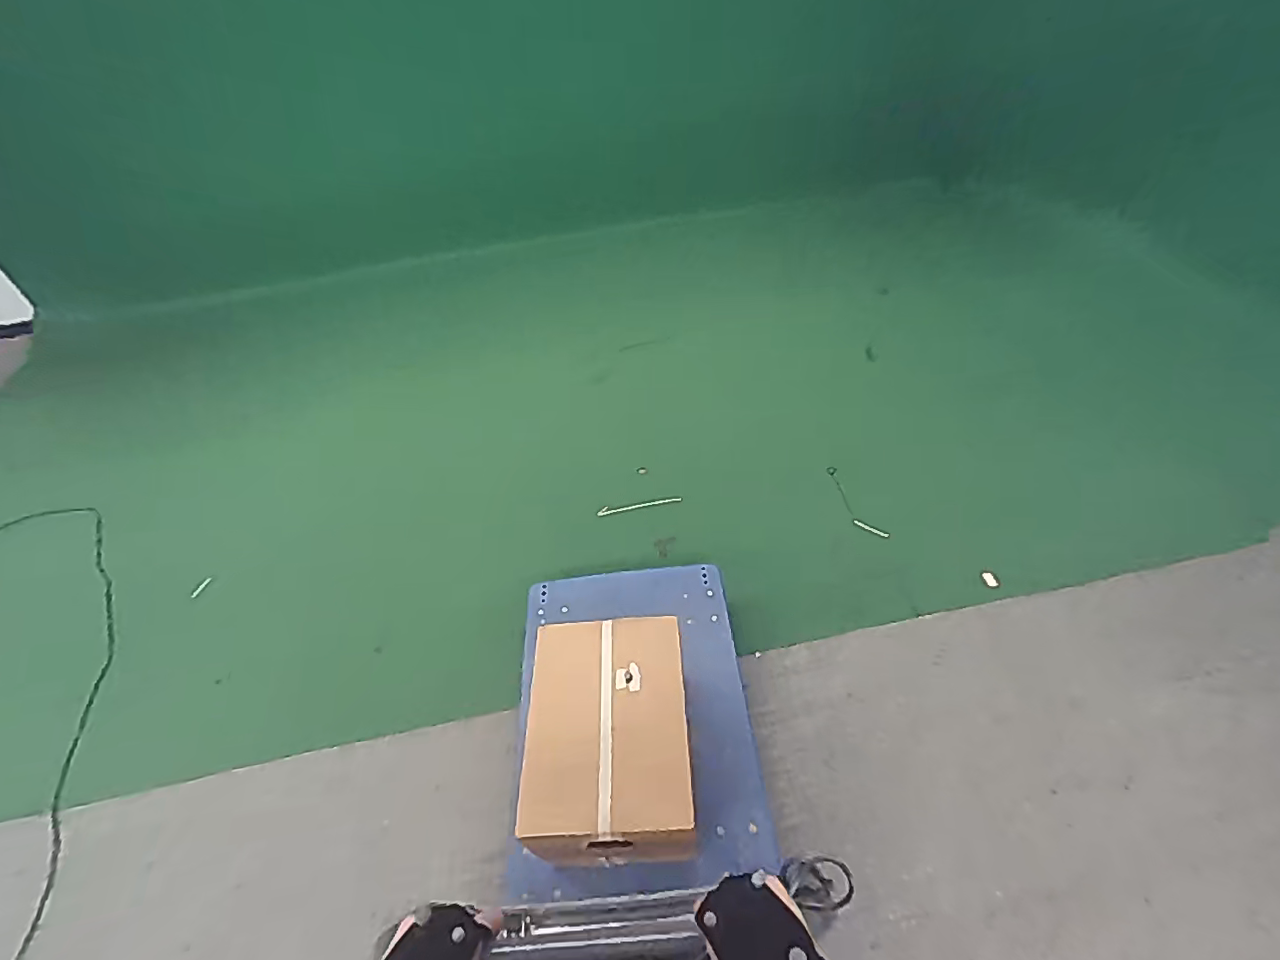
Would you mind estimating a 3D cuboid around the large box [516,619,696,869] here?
[{"bbox_3d":[-0.056,0.565,1.169,0.320,0.320,0.408,-4,46,2],"label":"large box"}]
